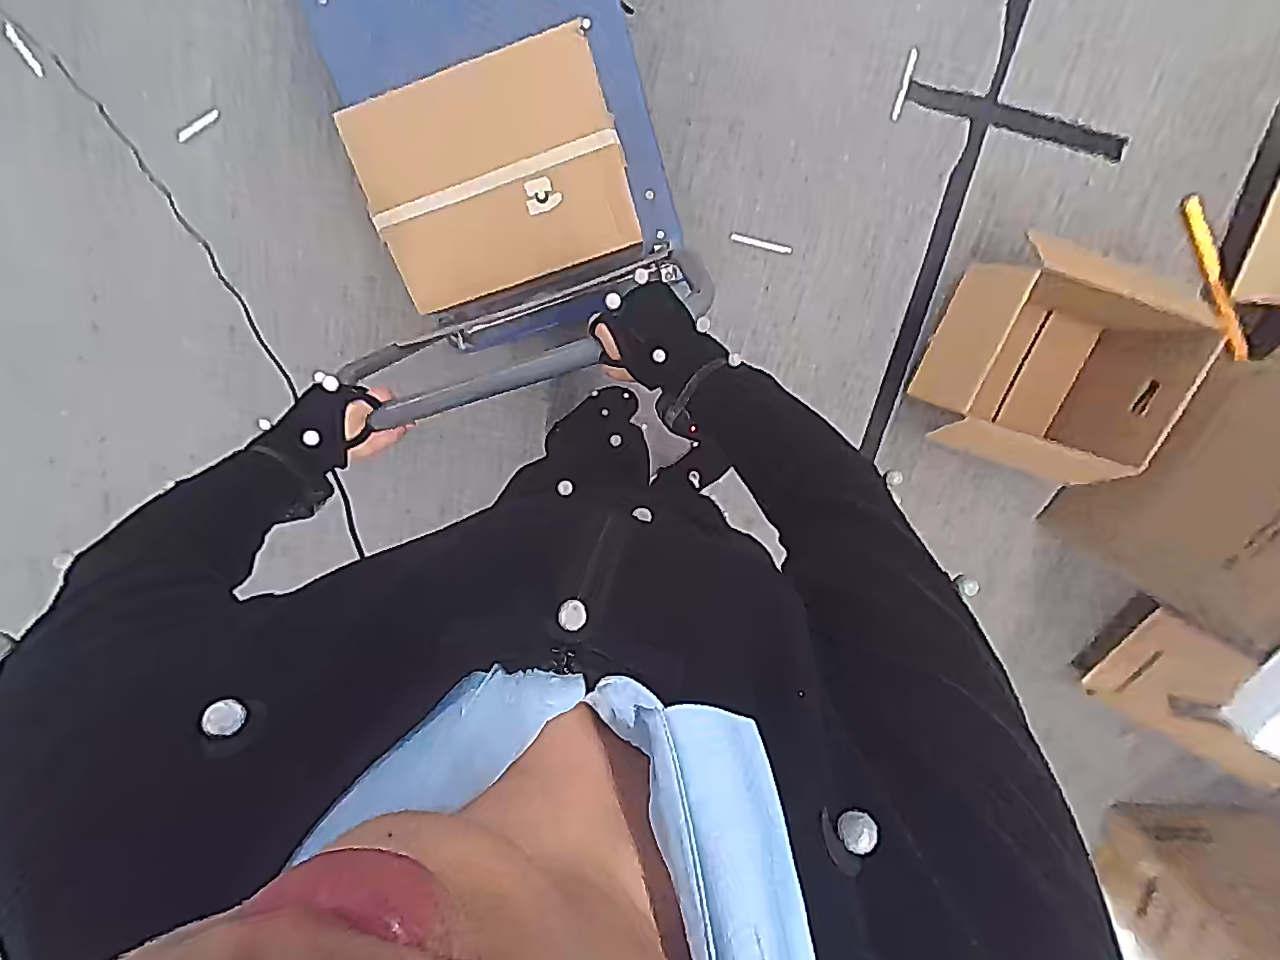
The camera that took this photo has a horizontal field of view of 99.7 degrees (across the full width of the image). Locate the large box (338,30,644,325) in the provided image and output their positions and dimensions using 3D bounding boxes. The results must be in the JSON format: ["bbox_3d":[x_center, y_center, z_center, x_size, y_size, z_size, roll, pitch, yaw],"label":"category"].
[{"bbox_3d":[-0.229,-0.503,0.985,0.408,0.320,0.320,-17,110,5],"label":"large box"}]
